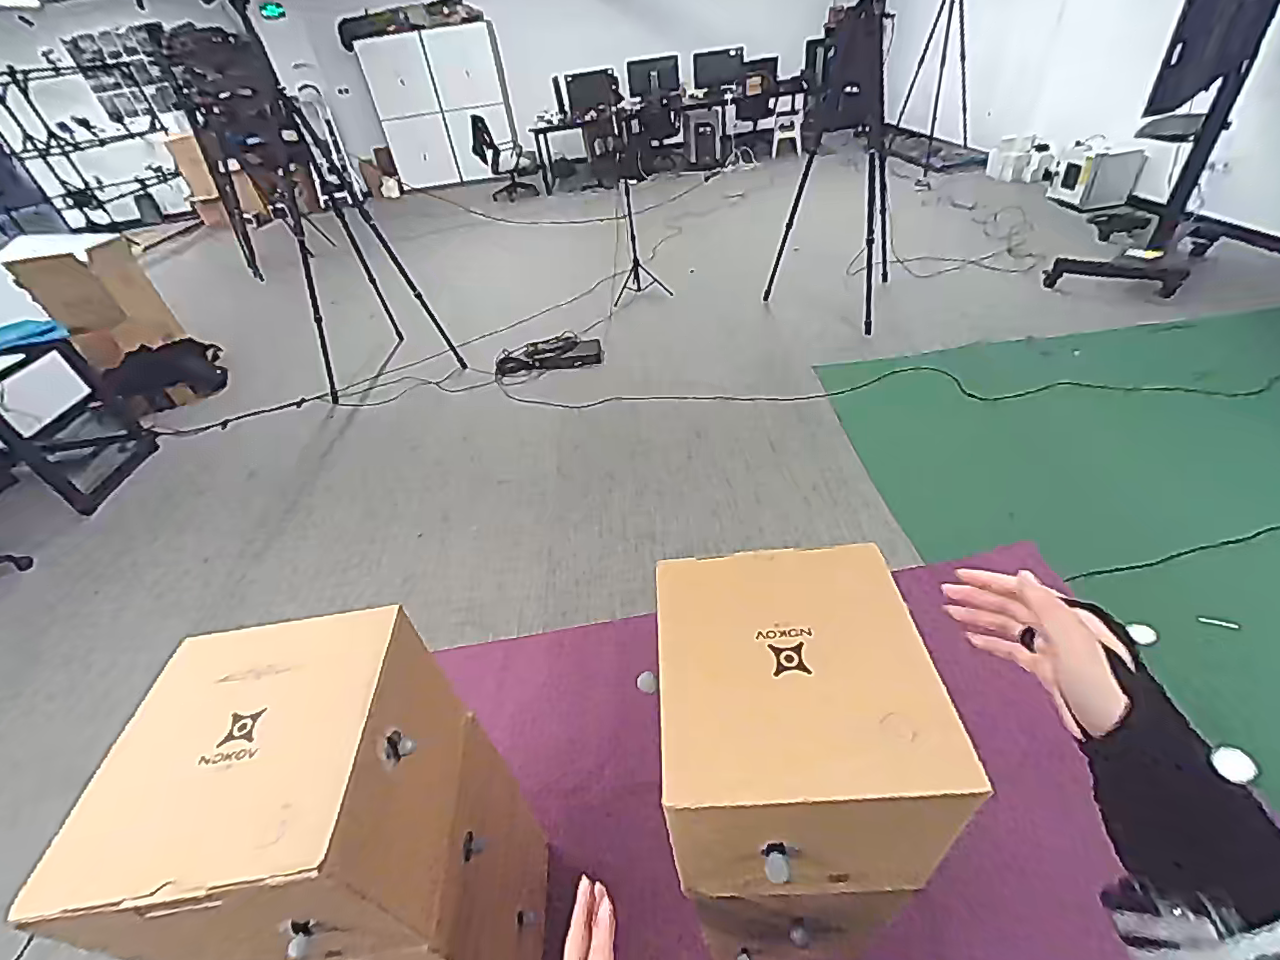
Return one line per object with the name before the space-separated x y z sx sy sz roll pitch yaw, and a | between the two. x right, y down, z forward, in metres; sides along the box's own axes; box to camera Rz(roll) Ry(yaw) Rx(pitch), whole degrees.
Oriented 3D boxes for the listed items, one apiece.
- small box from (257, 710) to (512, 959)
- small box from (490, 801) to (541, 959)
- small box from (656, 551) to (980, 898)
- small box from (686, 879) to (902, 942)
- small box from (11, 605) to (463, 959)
small box | -0.226 0.343 0.499 0.168 0.176 0.179 -6 39 2
small box | -0.211 0.474 0.598 0.168 0.176 0.179 -6 40 1
small box | 0.101 0.175 0.387 0.168 0.176 0.179 -4 38 5
small box | 0.120 0.293 0.499 0.168 0.176 0.179 -6 40 3
small box | -0.243 0.220 0.392 0.168 0.176 0.179 -7 39 0
